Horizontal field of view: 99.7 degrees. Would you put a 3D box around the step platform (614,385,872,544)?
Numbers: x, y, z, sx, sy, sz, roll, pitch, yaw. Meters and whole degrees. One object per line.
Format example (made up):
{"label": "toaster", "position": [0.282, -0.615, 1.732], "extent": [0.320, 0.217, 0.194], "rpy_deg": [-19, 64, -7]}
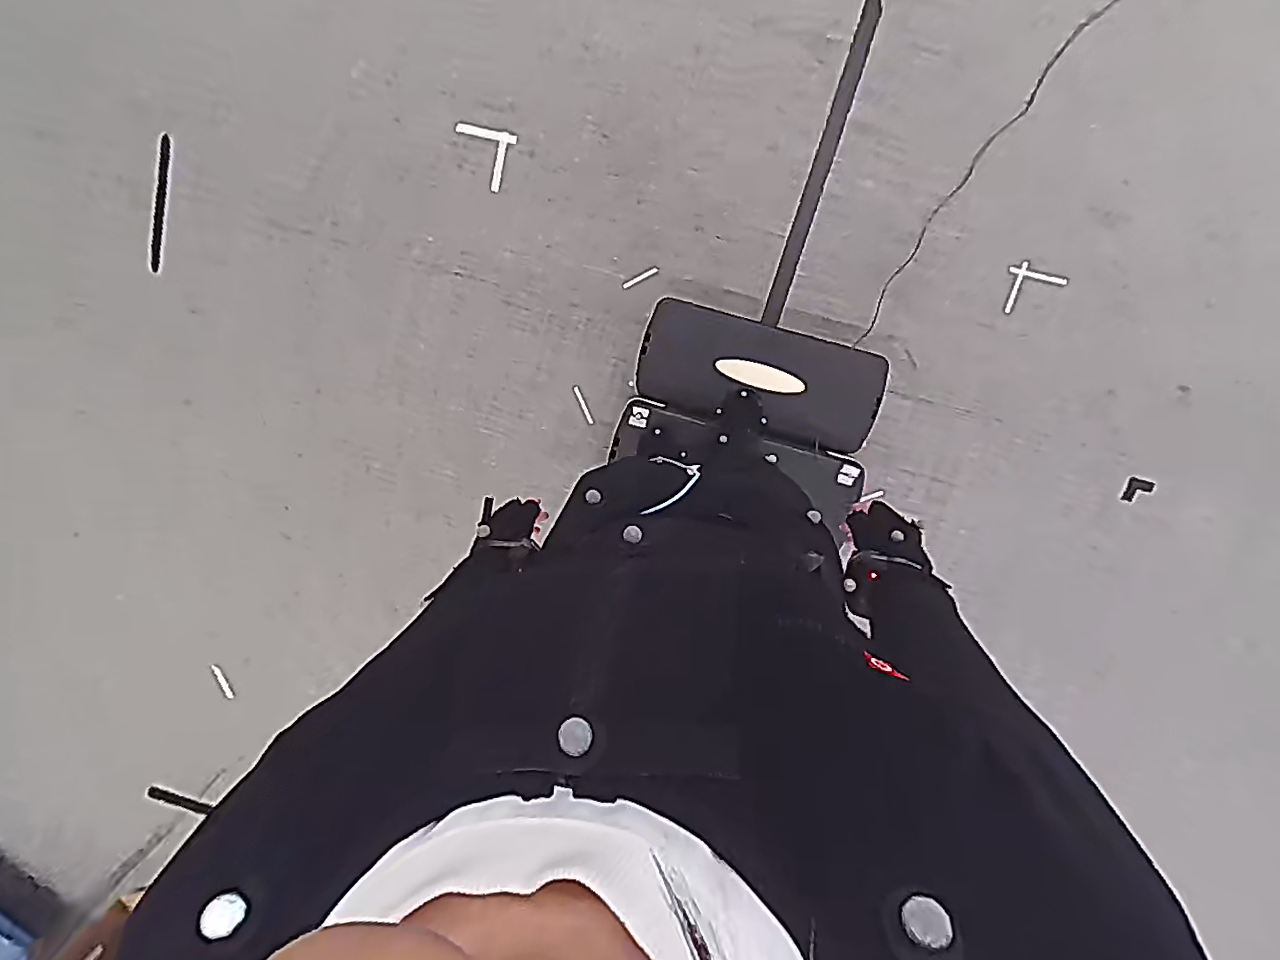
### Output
{"label": "step platform", "position": [0.273, -0.047, 1.506], "extent": [0.684, 0.204, 0.286], "rpy_deg": [15, 100, 3]}
